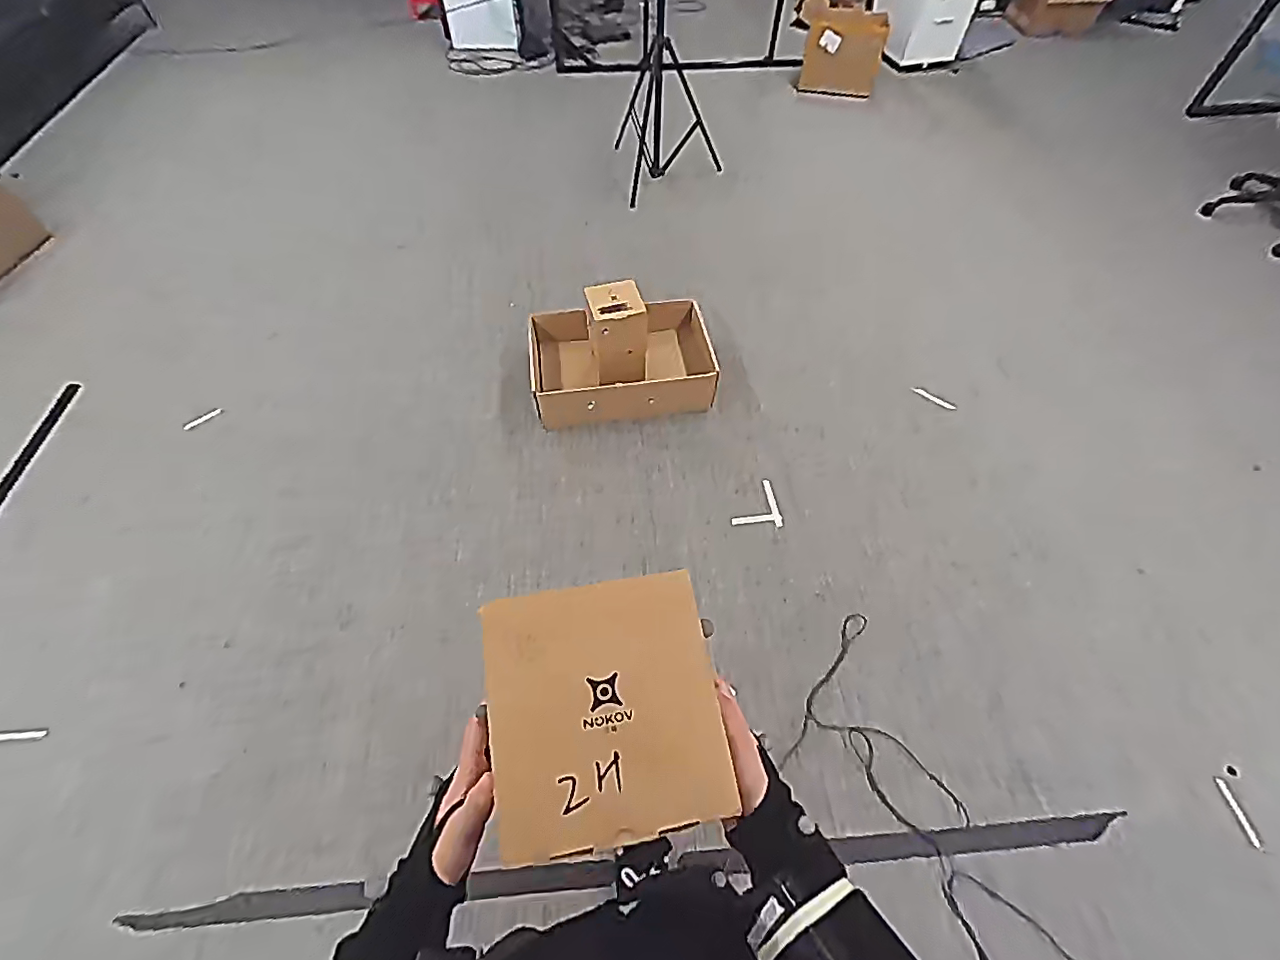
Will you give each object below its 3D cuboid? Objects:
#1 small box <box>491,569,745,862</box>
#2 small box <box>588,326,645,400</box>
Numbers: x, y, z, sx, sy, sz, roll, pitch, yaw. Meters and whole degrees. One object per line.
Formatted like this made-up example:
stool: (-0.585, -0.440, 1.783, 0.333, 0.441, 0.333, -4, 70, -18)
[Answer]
small box: (-0.028, 0.191, 0.466, 0.168, 0.176, 0.179, -8, 69, -8)
small box: (-0.085, -0.410, 1.900, 0.168, 0.176, 0.179, -12, 57, -8)
